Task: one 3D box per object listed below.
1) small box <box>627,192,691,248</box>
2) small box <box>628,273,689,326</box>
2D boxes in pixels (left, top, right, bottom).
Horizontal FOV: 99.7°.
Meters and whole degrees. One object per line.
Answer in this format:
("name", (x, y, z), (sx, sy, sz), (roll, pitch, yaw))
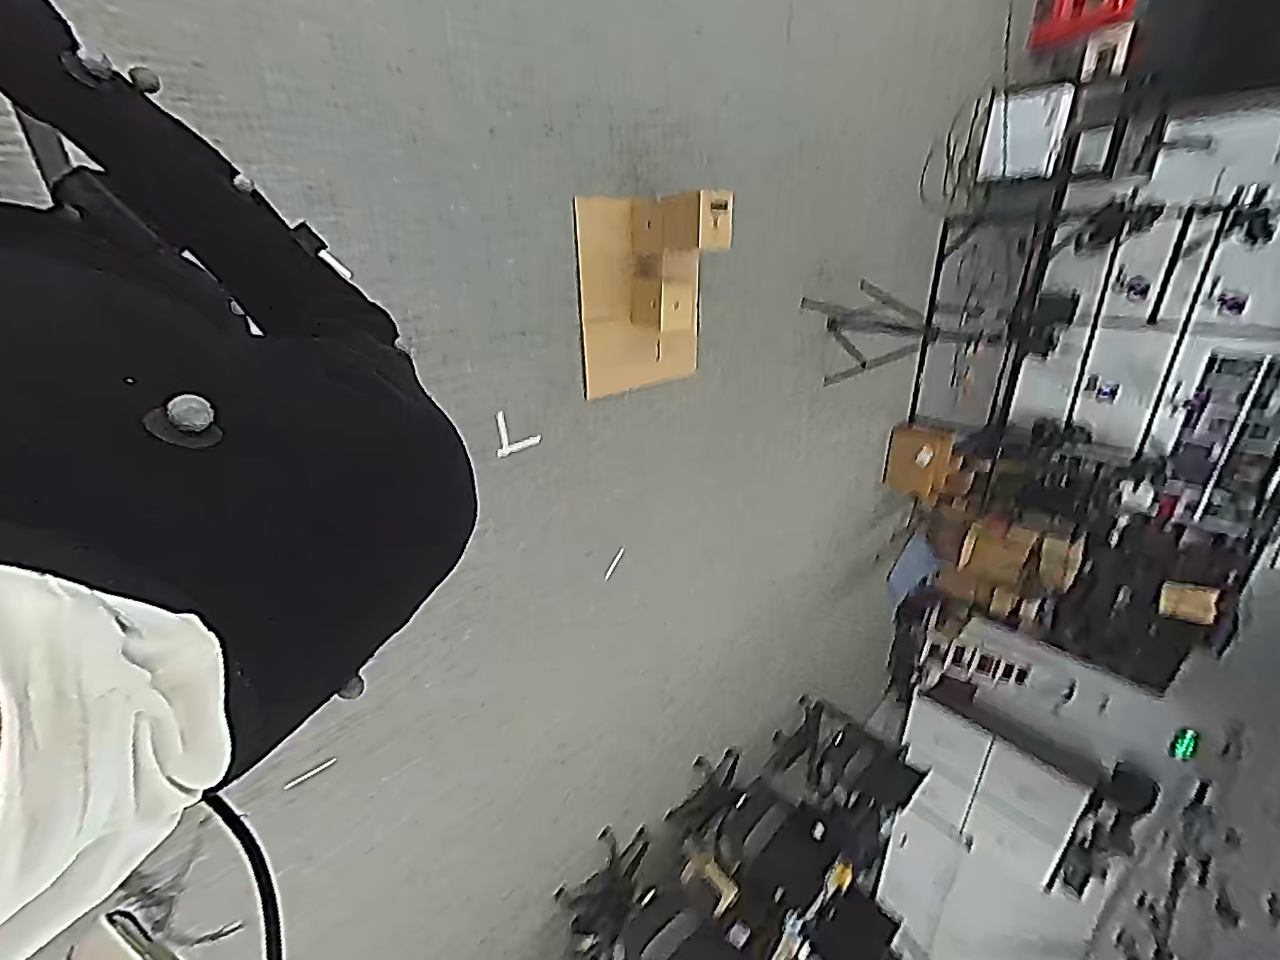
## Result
("small box", (0.068, -0.938, 1.959), (0.168, 0.176, 0.179), (-22, 120, -37))
("small box", (0.067, -0.693, 2.065), (0.168, 0.176, 0.179), (-20, 120, -37))
